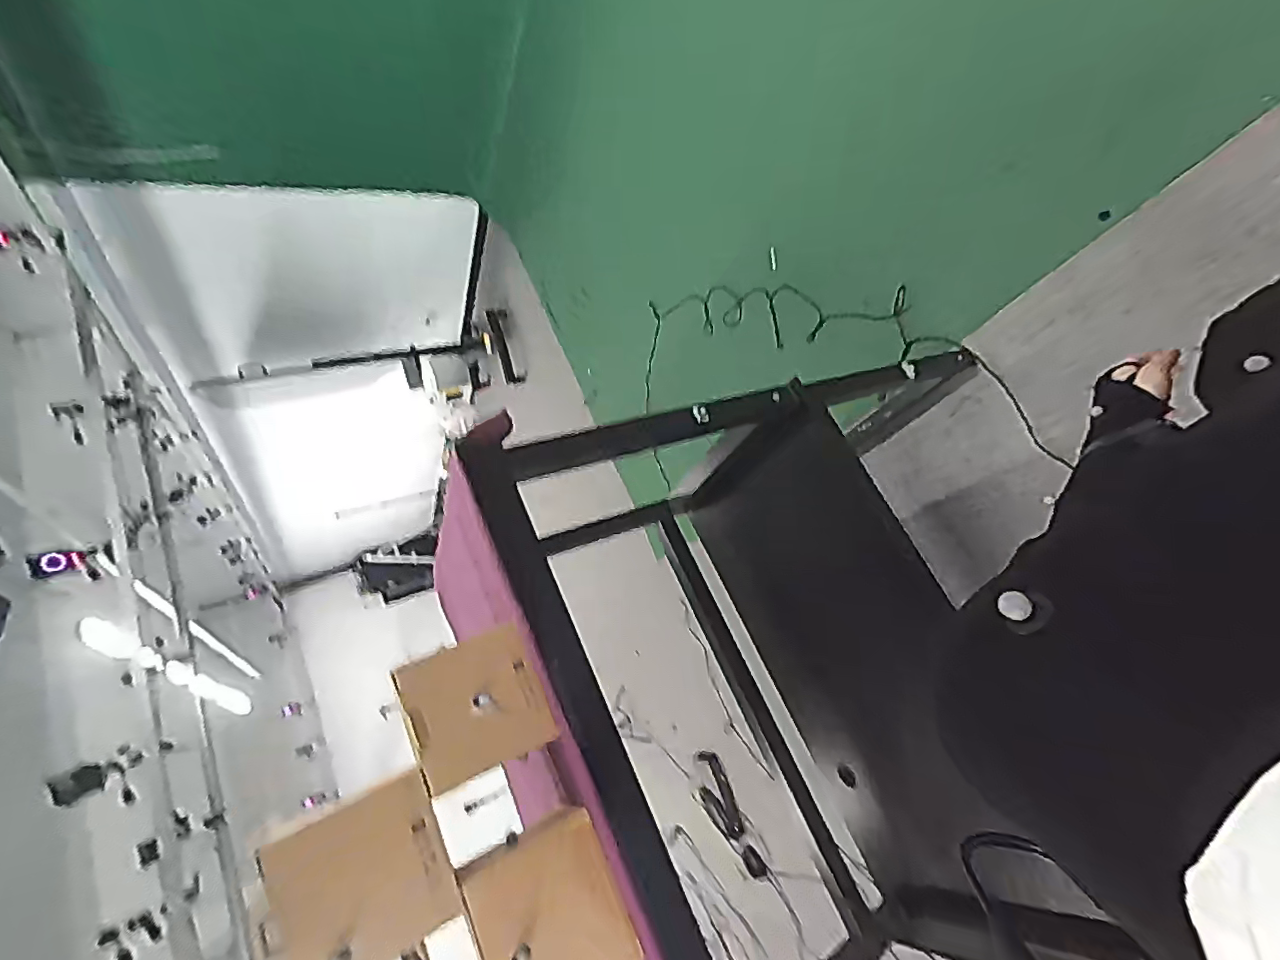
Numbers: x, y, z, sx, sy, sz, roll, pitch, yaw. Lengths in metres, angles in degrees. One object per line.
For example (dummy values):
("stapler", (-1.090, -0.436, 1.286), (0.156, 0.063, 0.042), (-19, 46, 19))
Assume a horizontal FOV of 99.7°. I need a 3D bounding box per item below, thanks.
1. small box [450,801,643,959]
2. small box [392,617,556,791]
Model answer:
("small box", (-0.123, 0.531, 0.680), (0.179, 0.176, 0.168), (63, 148, 18))
("small box", (-0.234, 0.309, 0.759), (0.168, 0.176, 0.179), (66, 148, 16))
